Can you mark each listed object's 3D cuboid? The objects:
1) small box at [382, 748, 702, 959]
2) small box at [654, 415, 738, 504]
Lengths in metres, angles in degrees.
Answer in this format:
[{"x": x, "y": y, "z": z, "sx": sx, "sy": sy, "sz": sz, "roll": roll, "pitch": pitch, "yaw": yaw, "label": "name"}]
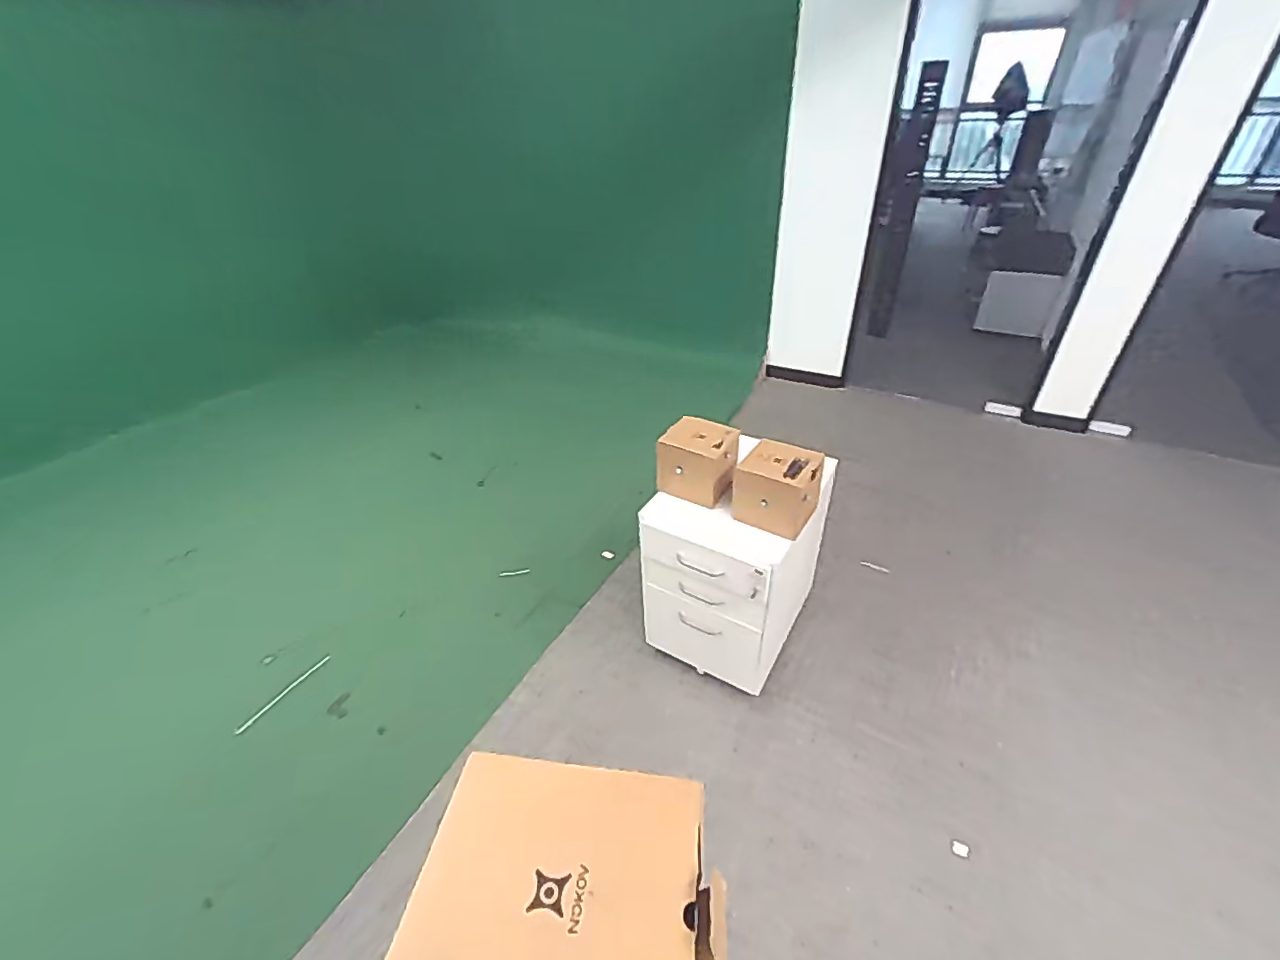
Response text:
[{"x": -0.053, "y": 0.320, "z": 0.373, "sx": 0.179, "sy": 0.176, "sz": 0.168, "roll": 5, "pitch": 30, "yaw": 6, "label": "small box"}, {"x": 0.154, "y": -0.055, "z": 1.503, "sx": 0.179, "sy": 0.176, "sz": 0.168, "roll": 19, "pitch": 42, "yaw": 26, "label": "small box"}]
